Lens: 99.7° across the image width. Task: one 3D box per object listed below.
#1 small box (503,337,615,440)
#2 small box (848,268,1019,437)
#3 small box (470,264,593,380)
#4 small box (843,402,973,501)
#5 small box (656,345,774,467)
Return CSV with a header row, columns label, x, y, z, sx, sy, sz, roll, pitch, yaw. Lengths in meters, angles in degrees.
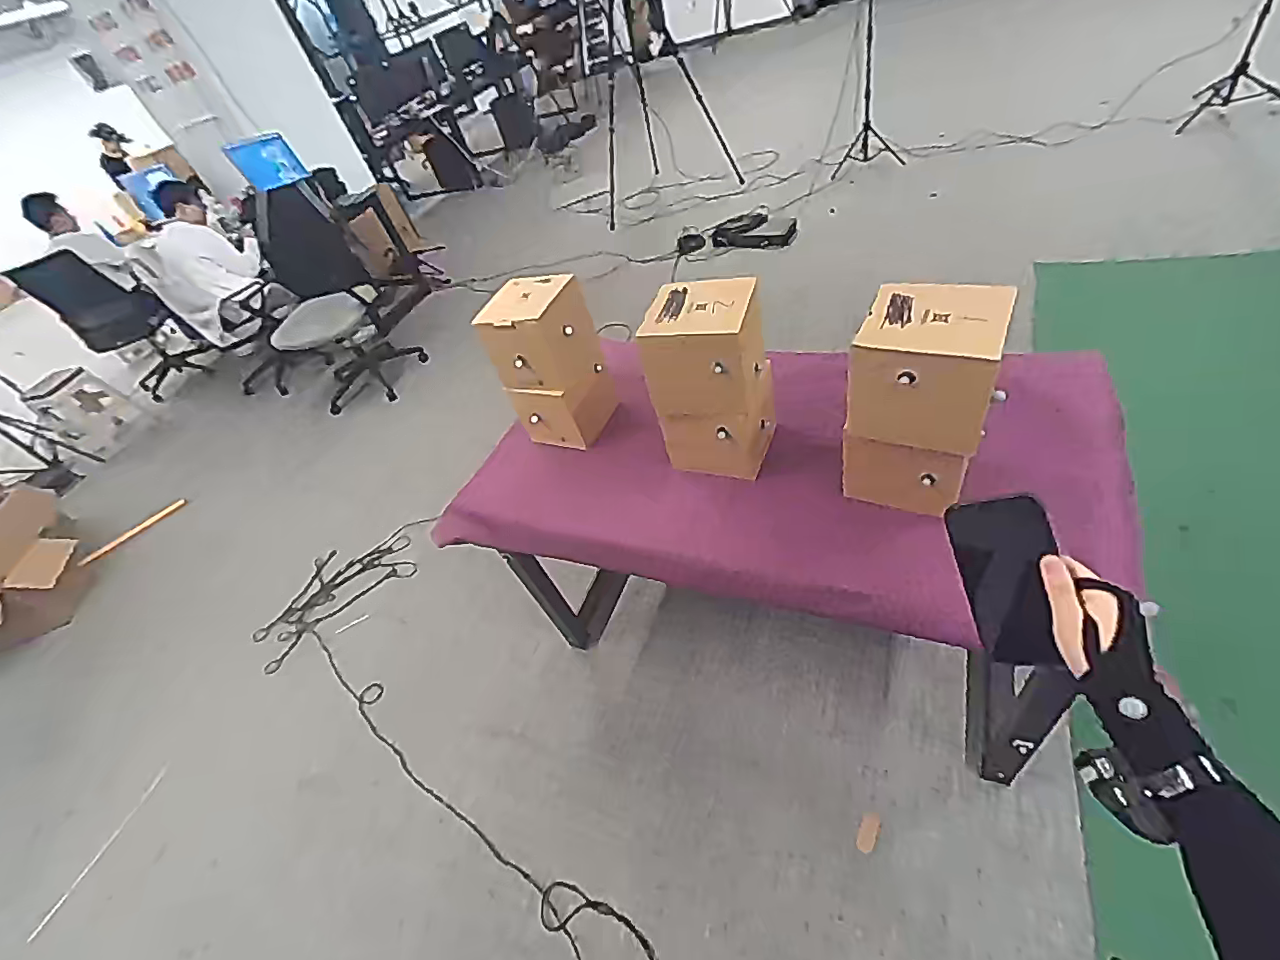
label,x,y,z,sx,sy,sz,roll,pitch,yaw
small box,-0.177,-0.213,1.253,0.168,0.176,0.179,9,52,28
small box,0.409,-0.182,0.772,0.179,0.176,0.168,15,55,30
small box,-0.217,-0.328,1.142,0.168,0.176,0.179,5,51,24
small box,0.450,-0.086,0.899,0.179,0.176,0.168,14,55,31
small box,0.157,-0.145,1.062,0.179,0.176,0.168,9,52,27
